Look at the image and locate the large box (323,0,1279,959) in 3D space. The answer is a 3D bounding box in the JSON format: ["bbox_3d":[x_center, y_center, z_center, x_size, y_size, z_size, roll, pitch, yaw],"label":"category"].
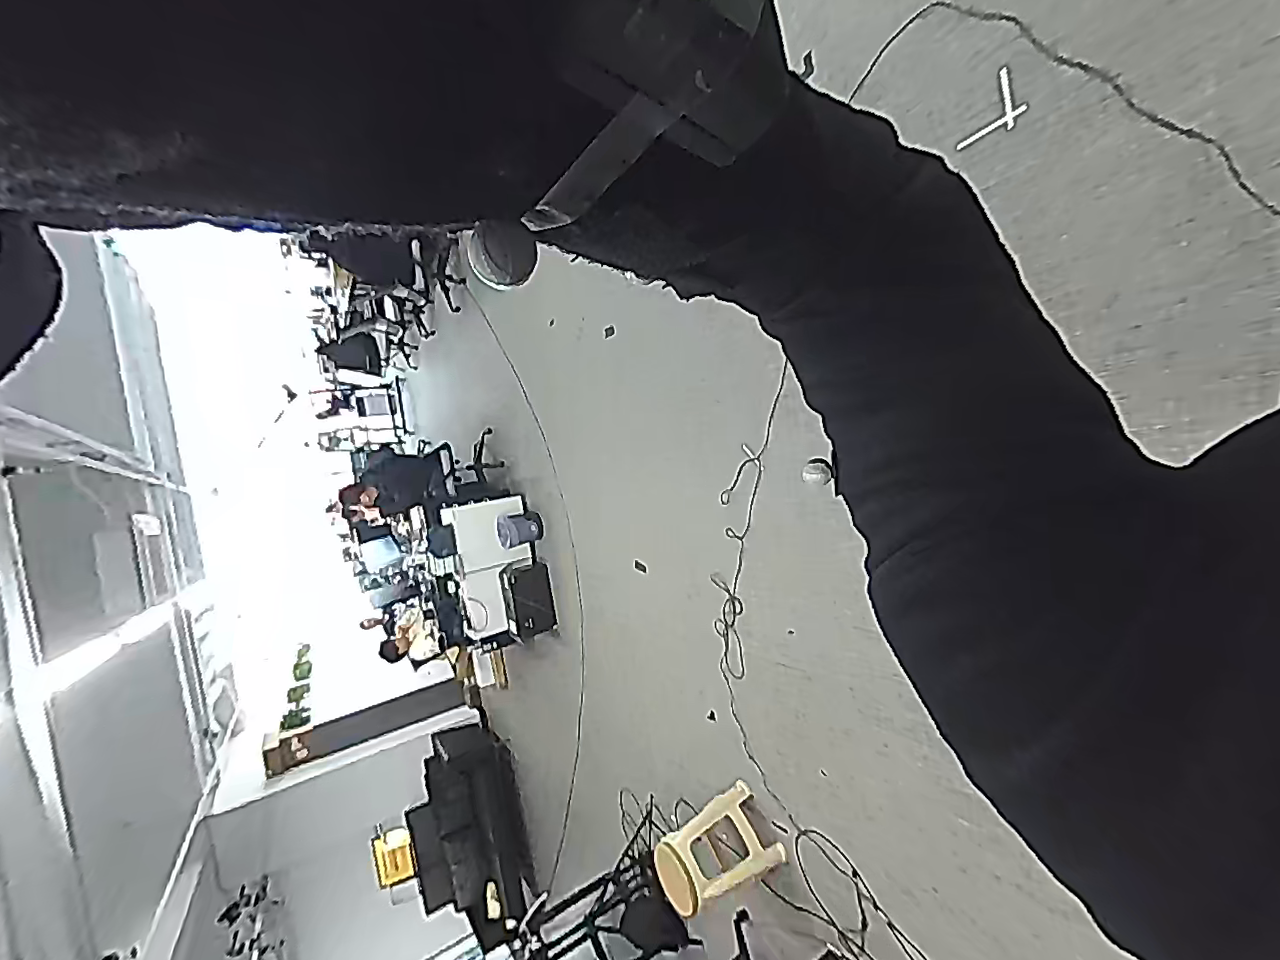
[{"bbox_3d":[0.143,-0.013,0.148,0.408,0.320,0.320,21,-89,53],"label":"large box"}]
